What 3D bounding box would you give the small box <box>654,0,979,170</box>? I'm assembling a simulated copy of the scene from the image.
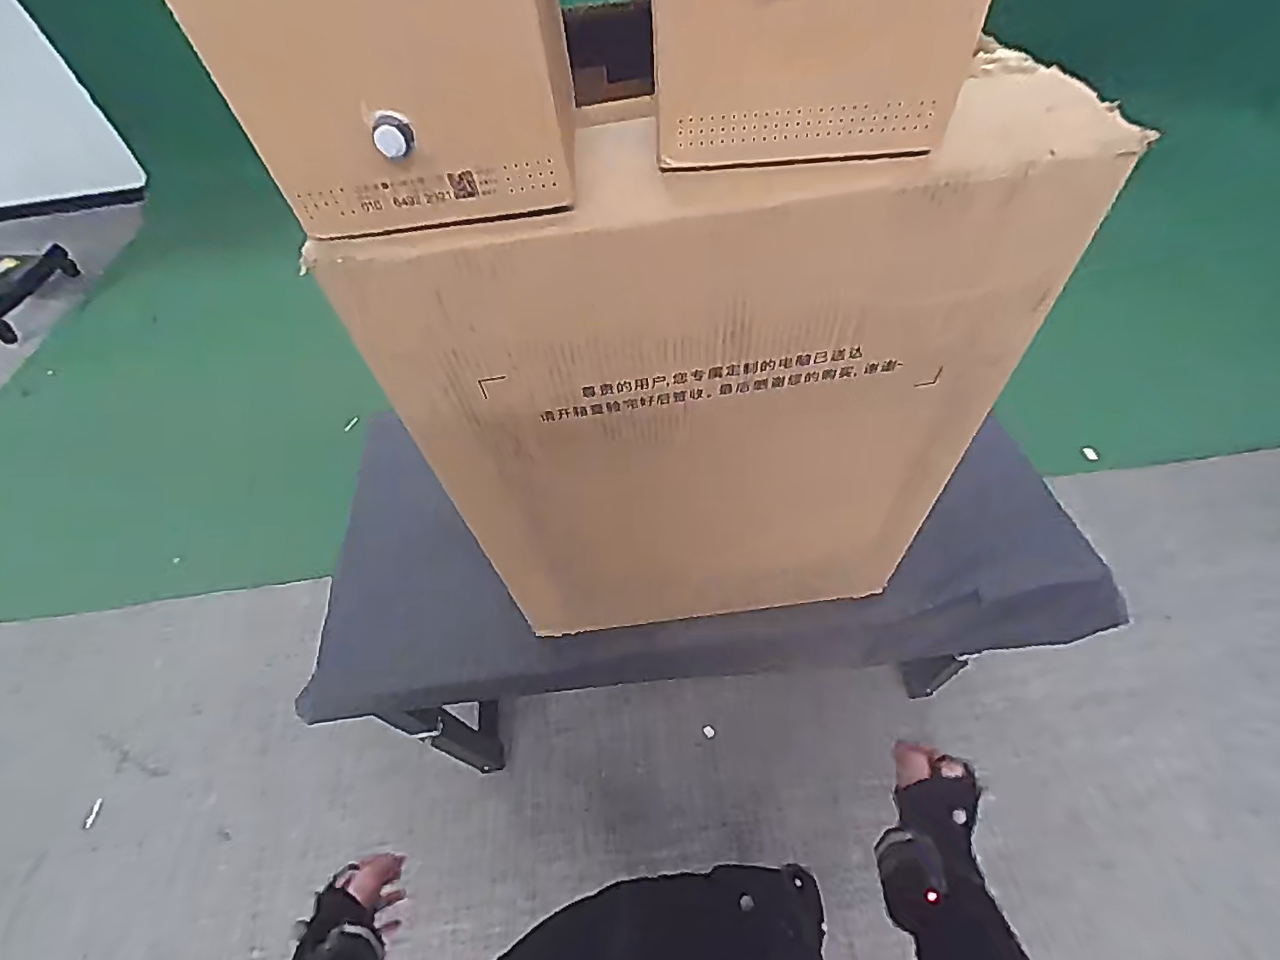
[{"bbox_3d":[0.095,-0.309,0.326,0.179,0.176,0.168,-3,54,4],"label":"small box"}]
